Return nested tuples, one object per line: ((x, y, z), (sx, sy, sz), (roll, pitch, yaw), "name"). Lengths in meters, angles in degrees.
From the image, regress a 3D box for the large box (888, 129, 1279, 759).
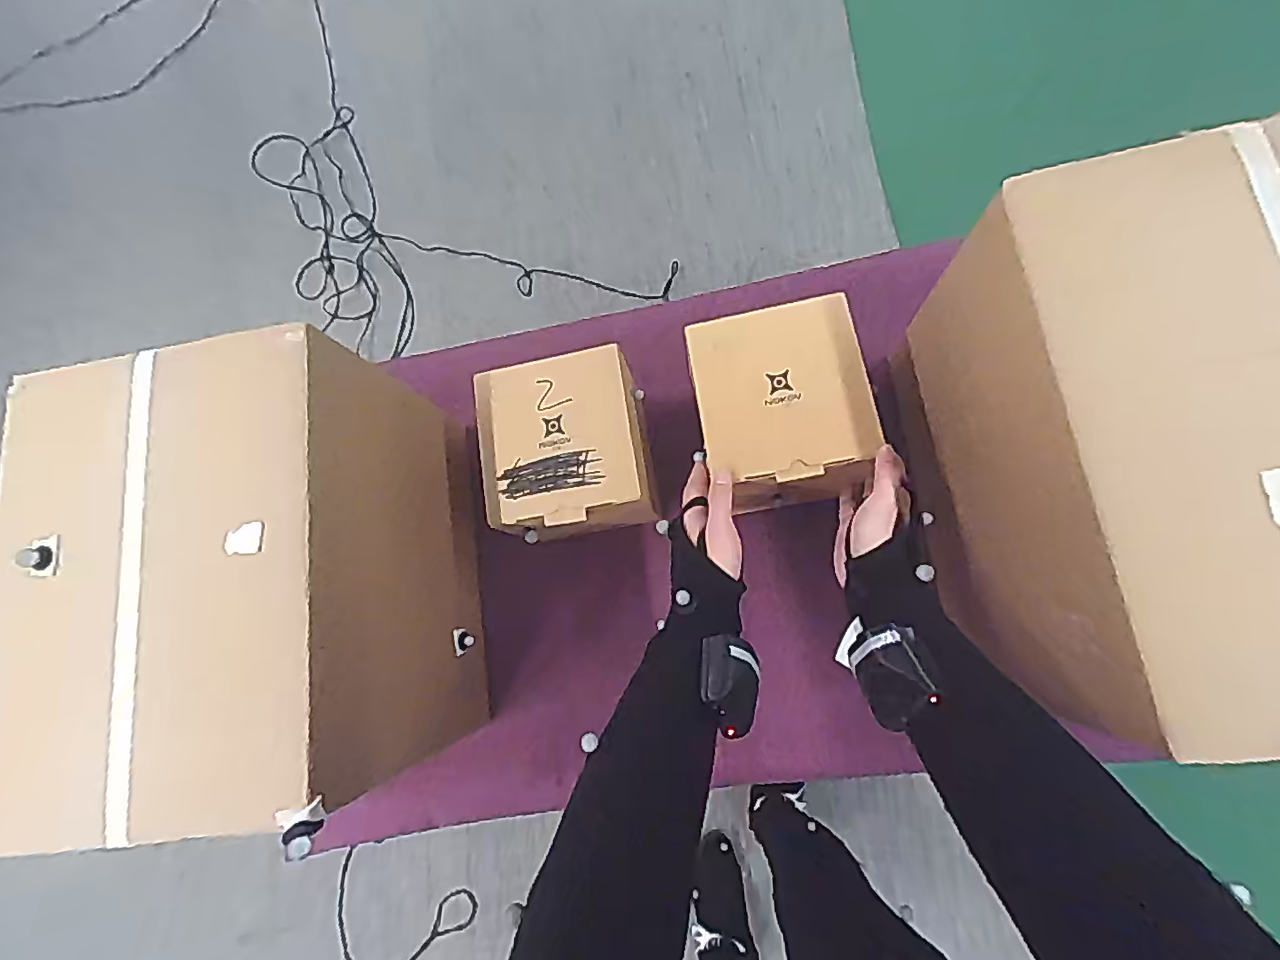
((0.465, -0.024, 0.486), (0.320, 0.320, 0.408), (-9, 78, 8), "large box")
